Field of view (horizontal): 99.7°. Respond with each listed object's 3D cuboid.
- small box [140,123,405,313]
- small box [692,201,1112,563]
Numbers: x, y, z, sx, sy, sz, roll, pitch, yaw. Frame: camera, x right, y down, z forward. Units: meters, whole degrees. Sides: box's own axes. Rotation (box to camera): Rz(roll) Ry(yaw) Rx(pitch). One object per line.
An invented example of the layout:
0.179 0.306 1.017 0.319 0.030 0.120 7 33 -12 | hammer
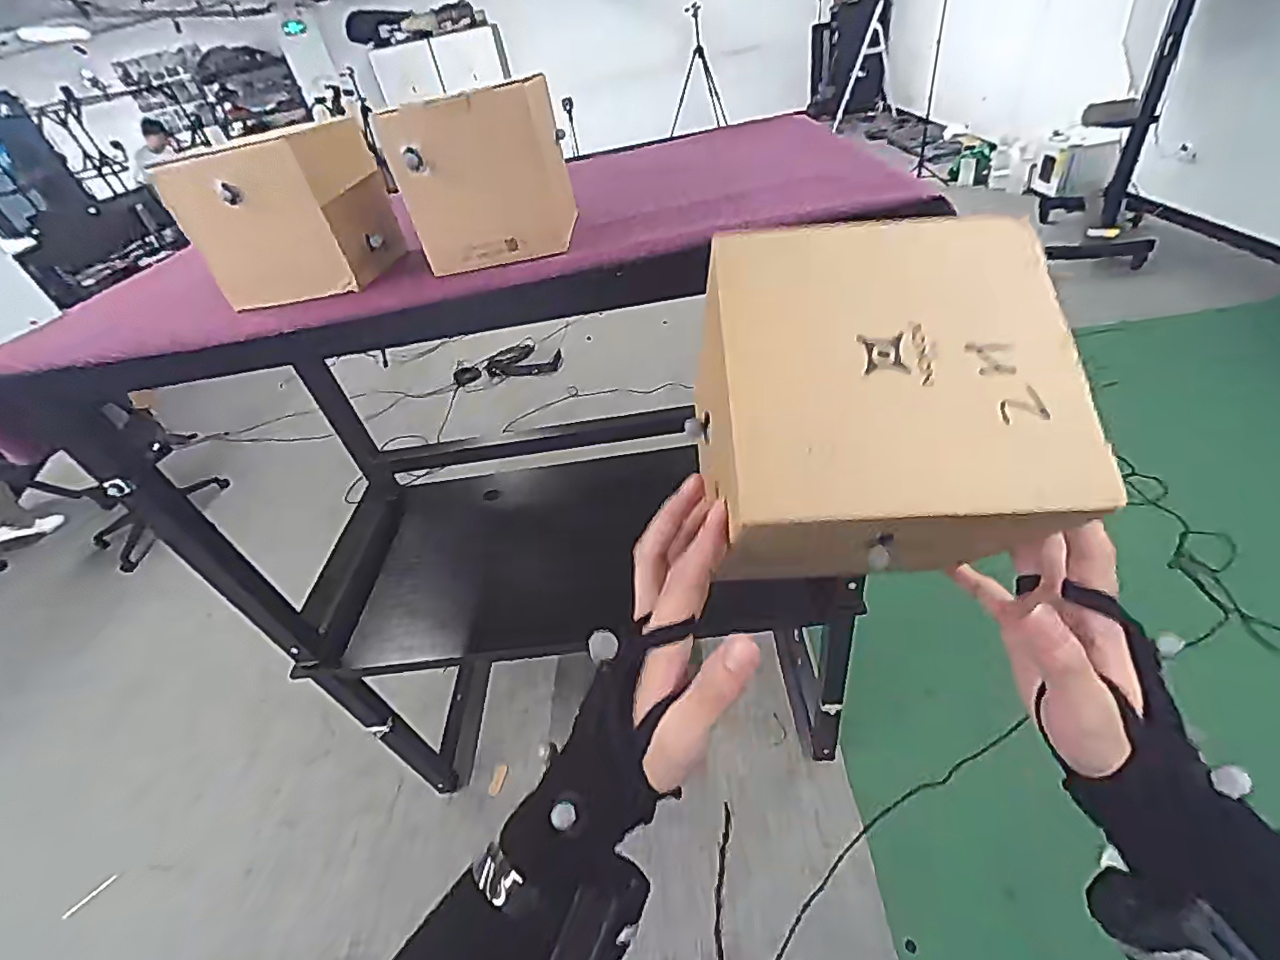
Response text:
-0.434 -0.322 0.674 0.179 0.176 0.168 -6 40 8 | small box
0.124 -0.043 0.342 0.179 0.176 0.168 -2 72 1 | small box
